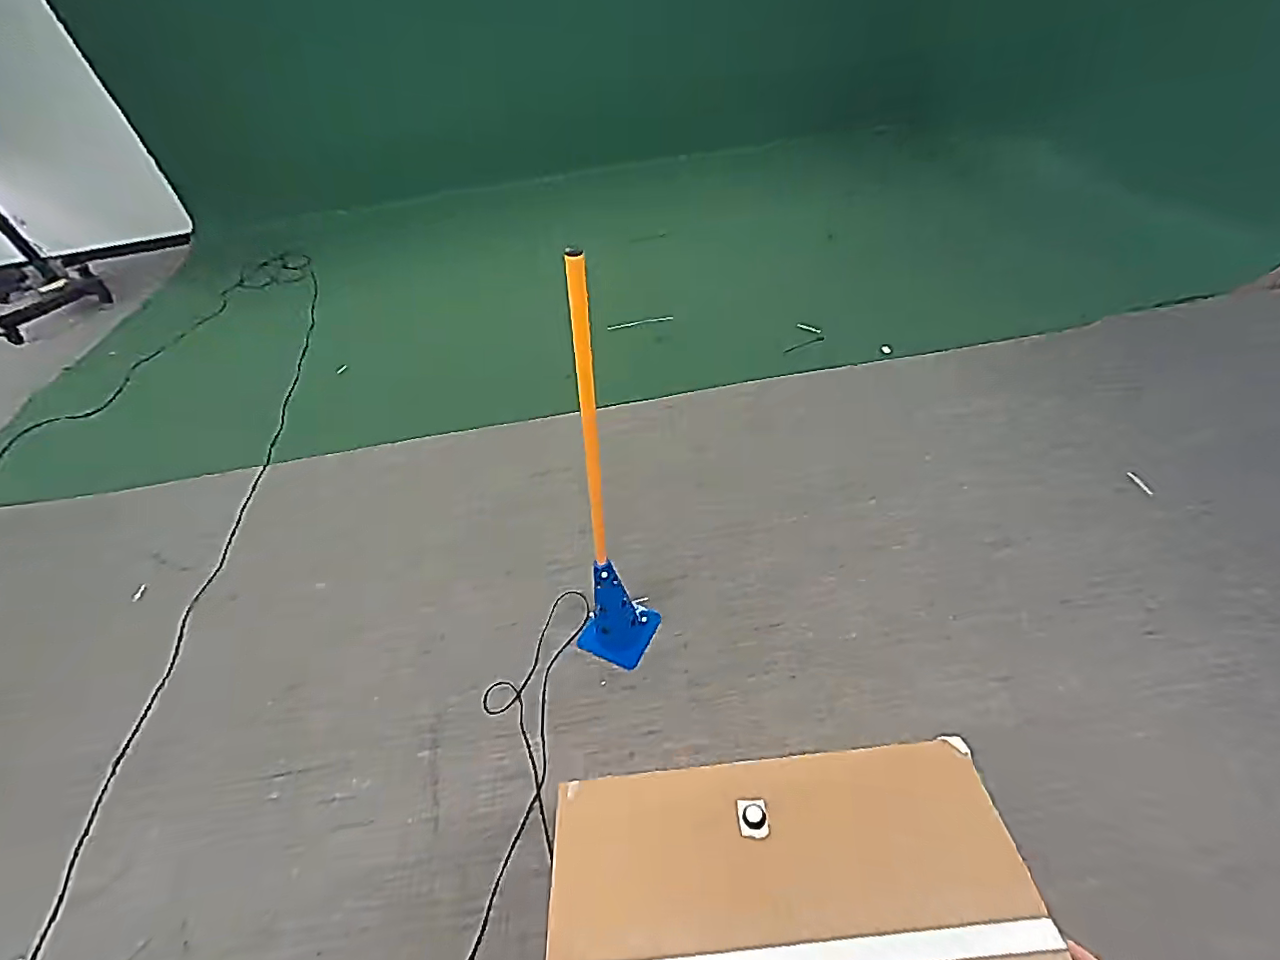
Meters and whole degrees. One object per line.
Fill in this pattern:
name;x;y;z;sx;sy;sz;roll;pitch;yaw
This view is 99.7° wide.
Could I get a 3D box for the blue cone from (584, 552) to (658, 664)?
blue cone;-0.072;0.324;1.485;0.192;0.380;0.193;15;49;21
